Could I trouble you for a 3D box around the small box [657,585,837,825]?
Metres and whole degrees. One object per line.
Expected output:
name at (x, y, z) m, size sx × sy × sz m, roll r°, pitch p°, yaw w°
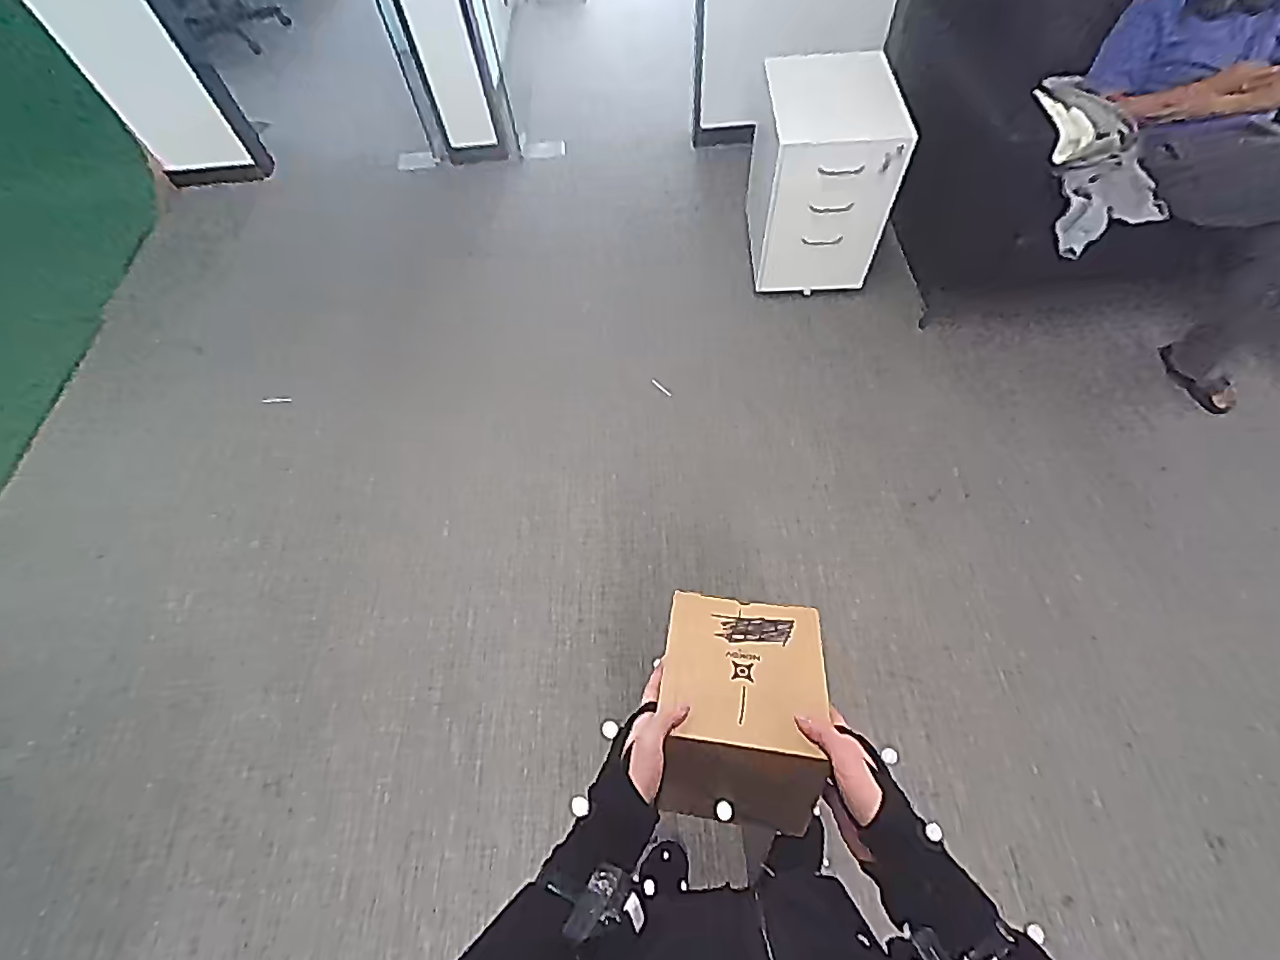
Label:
small box at (0.111, 0.247, 0.608) m, size 0.168 × 0.176 × 0.179 m, roll 5°, pitch 37°, yaw 8°
